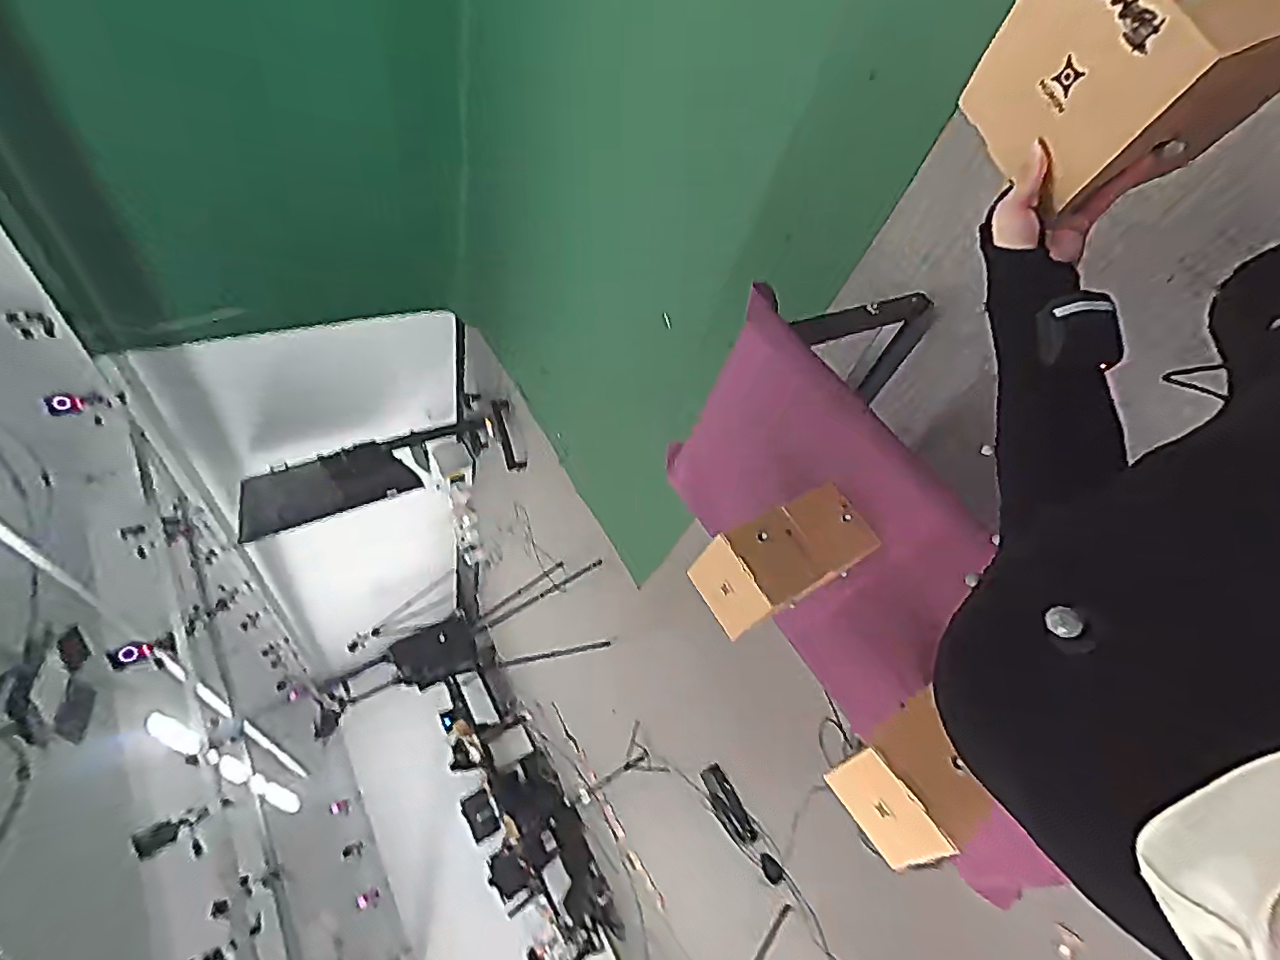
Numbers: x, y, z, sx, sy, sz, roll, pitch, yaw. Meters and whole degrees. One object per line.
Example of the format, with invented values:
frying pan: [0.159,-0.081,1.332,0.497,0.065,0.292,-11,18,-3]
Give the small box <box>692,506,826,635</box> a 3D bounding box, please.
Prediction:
small box: [0.241,0.176,1.083,0.168,0.176,0.179,57,147,22]

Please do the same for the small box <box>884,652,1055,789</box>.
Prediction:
small box: [0.598,0.449,0.987,0.168,0.176,0.179,52,145,28]

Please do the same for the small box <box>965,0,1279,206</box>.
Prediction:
small box: [0.436,-0.384,0.462,0.179,0.176,0.168,79,167,-79]

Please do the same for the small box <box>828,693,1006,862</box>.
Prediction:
small box: [0.463,0.496,0.910,0.168,0.176,0.179,51,145,30]
